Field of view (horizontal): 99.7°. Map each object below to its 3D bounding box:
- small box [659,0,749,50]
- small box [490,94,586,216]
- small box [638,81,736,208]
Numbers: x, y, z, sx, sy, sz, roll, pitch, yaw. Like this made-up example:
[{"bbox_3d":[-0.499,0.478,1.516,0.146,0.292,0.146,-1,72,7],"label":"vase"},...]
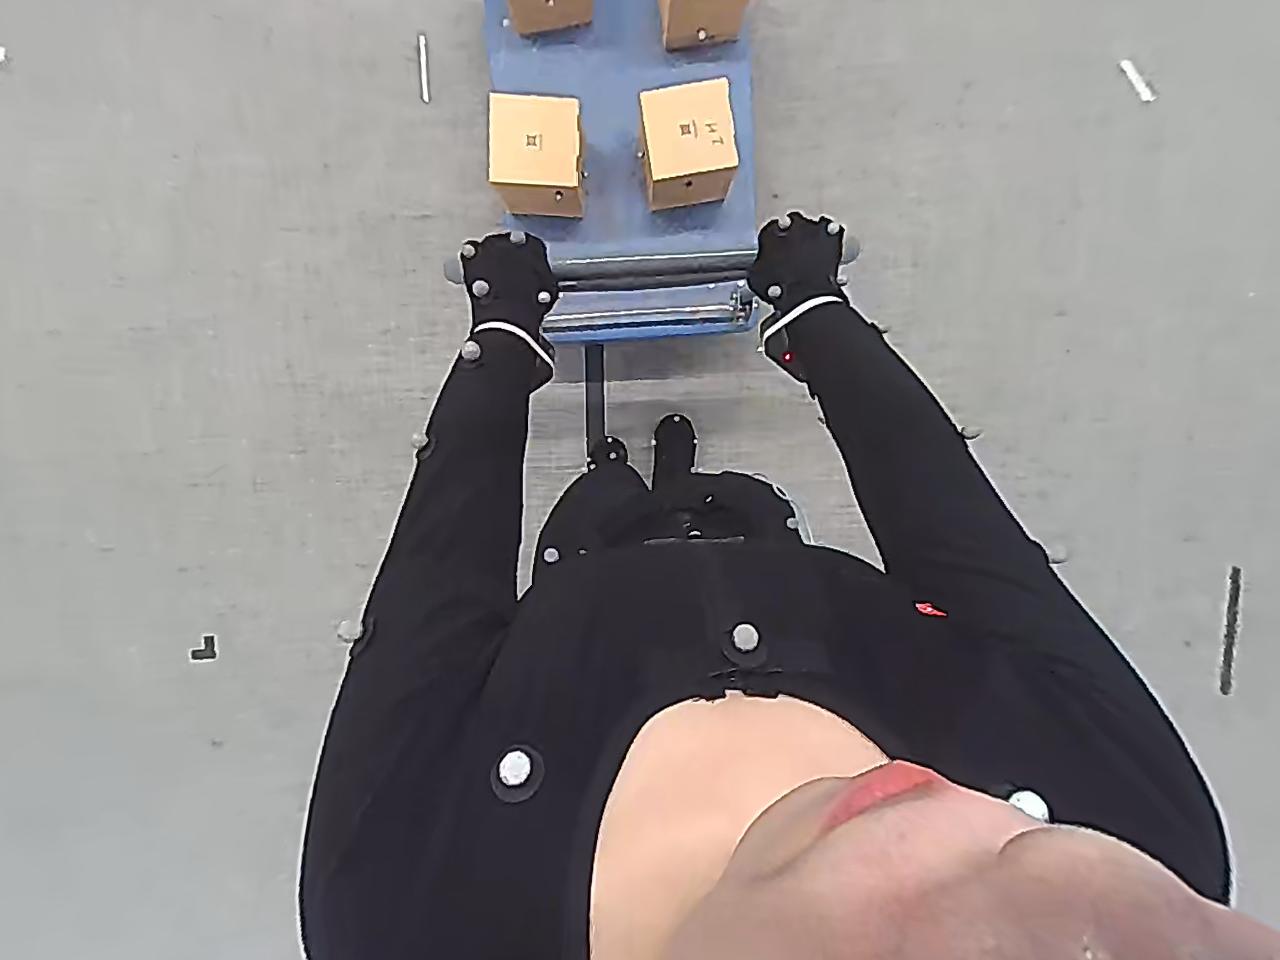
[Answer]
[{"bbox_3d":[0.125,-1.032,1.103,0.168,0.176,0.179,-7,99,0],"label":"small box"},{"bbox_3d":[-0.210,-0.677,1.144,0.179,0.176,0.168,2,97,-3],"label":"small box"},{"bbox_3d":[0.094,-0.698,1.146,0.179,0.176,0.168,-9,98,0],"label":"small box"}]
